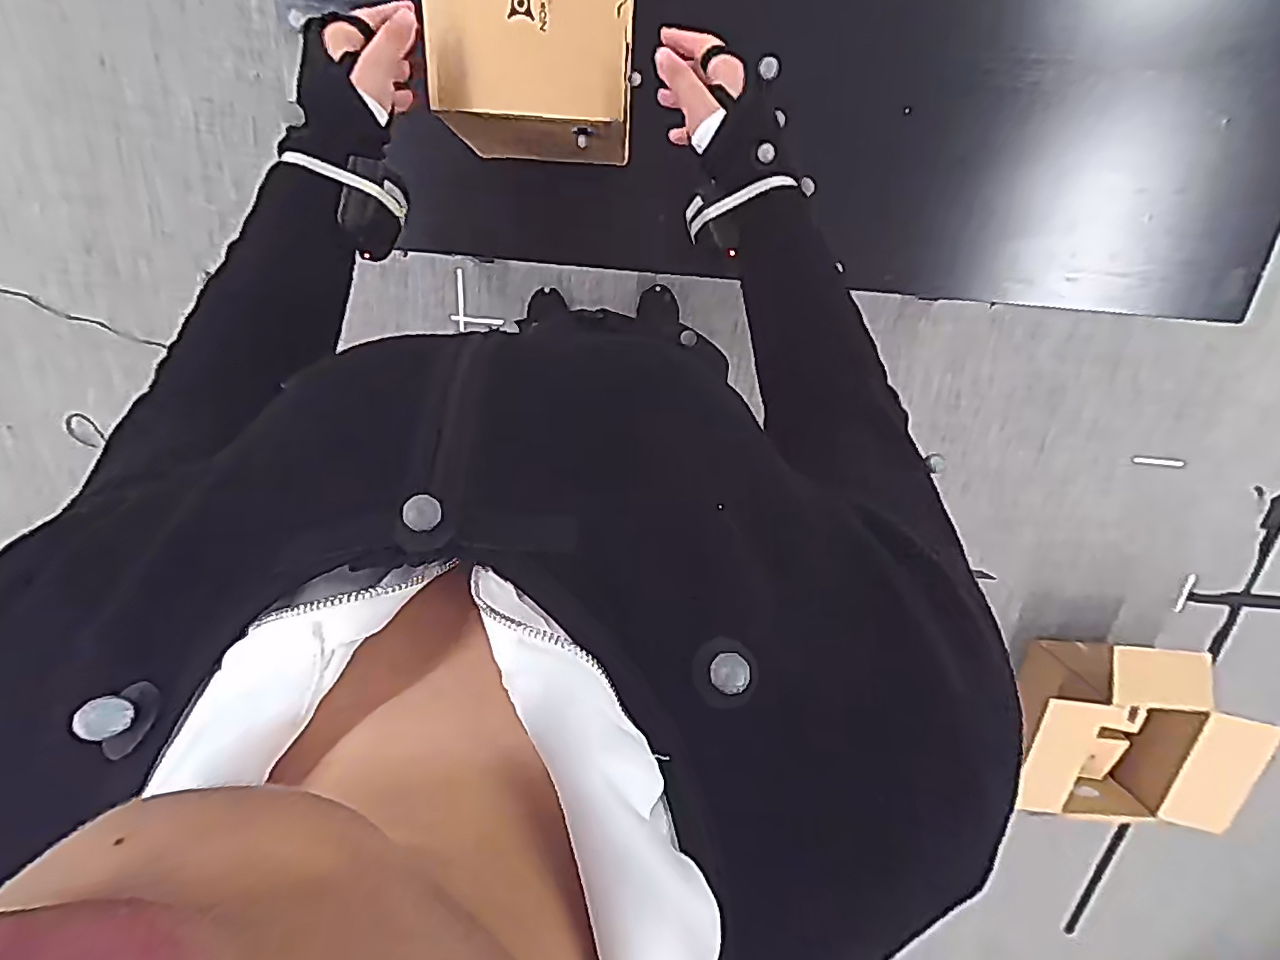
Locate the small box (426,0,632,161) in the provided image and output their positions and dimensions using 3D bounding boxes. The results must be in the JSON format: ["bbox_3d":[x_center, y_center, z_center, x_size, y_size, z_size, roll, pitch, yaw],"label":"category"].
[{"bbox_3d":[-0.098,-0.431,0.537,0.179,0.176,0.168,2,109,-3],"label":"small box"}]
